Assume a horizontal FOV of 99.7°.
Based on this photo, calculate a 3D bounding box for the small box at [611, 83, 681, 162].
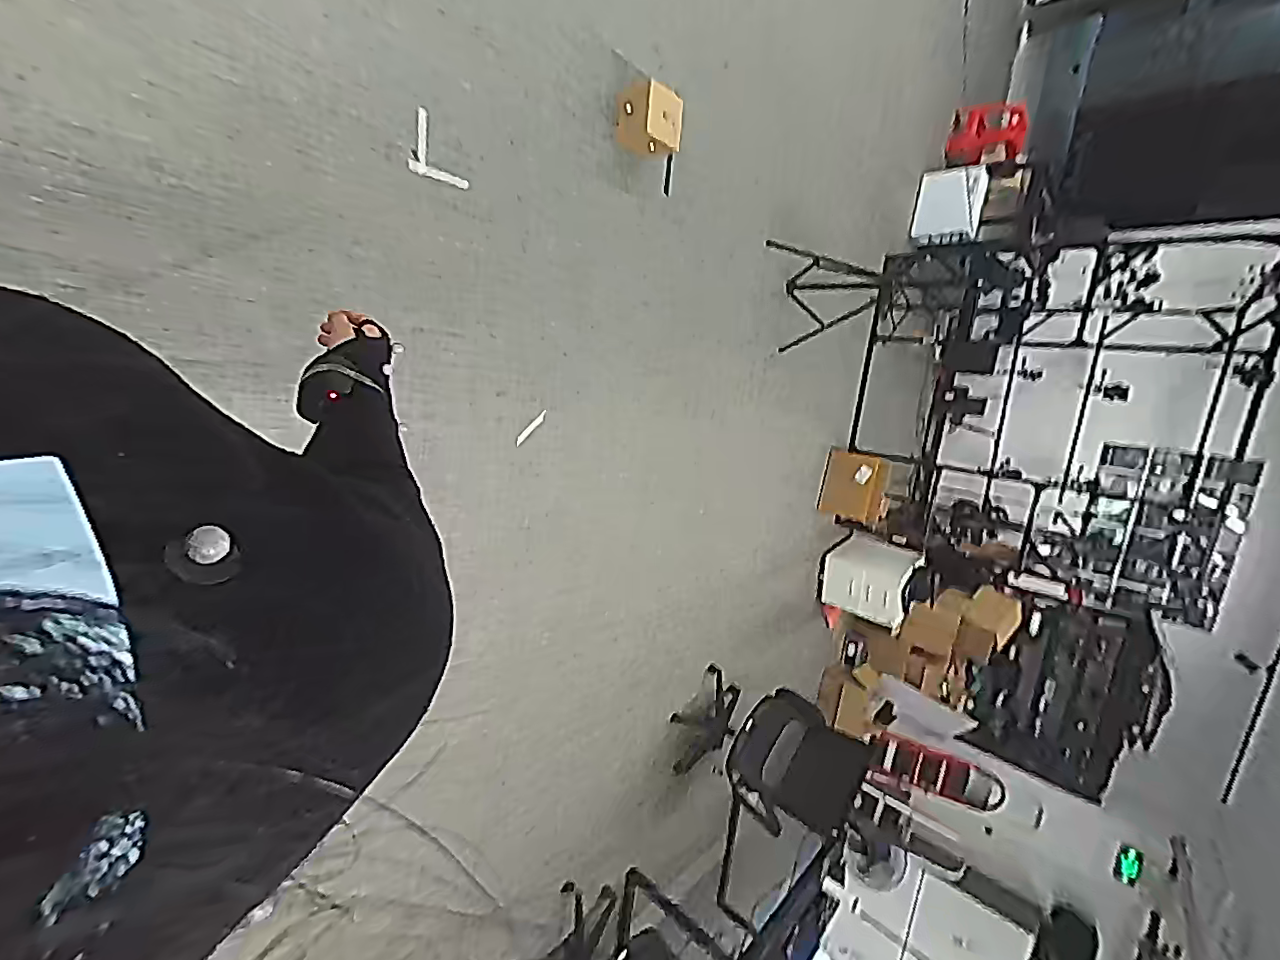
[{"bbox_3d":[0.017,-1.238,1.891,0.179,0.176,0.168,-6,106,-49],"label":"small box"}]
